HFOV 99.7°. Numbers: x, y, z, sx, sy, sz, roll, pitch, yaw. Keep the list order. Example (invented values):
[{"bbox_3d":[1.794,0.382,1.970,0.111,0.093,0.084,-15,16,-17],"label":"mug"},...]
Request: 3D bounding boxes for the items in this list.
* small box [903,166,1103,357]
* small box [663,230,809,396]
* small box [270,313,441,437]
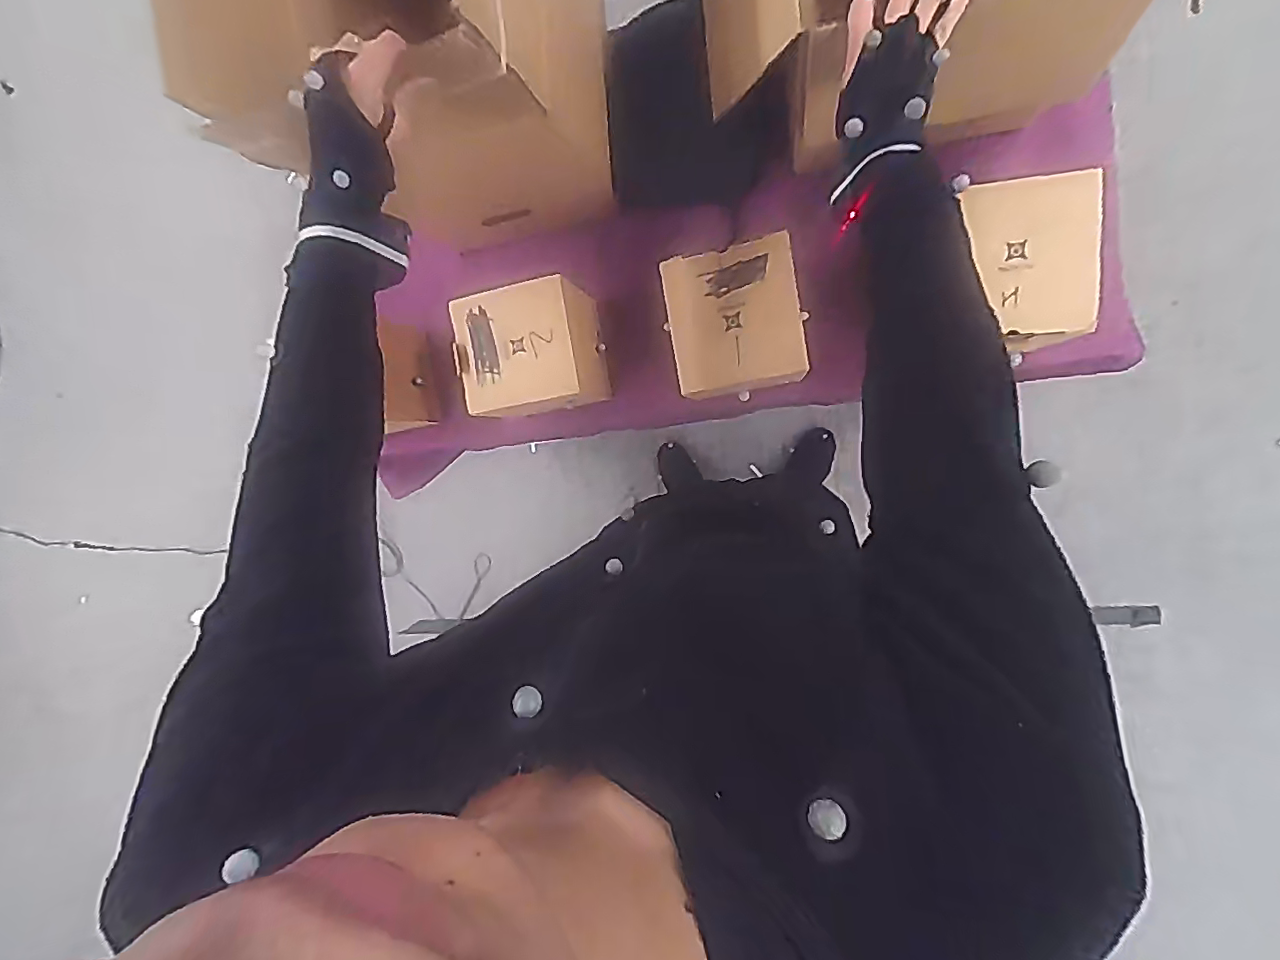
[{"bbox_3d":[0.439,-0.259,0.683,0.168,0.176,0.179,-1,95,15],"label":"small box"},{"bbox_3d":[0.137,-0.219,0.762,0.168,0.176,0.179,-9,95,15],"label":"small box"},{"bbox_3d":[-0.470,-0.166,0.914,0.179,0.176,0.168,-10,93,13],"label":"small box"}]
